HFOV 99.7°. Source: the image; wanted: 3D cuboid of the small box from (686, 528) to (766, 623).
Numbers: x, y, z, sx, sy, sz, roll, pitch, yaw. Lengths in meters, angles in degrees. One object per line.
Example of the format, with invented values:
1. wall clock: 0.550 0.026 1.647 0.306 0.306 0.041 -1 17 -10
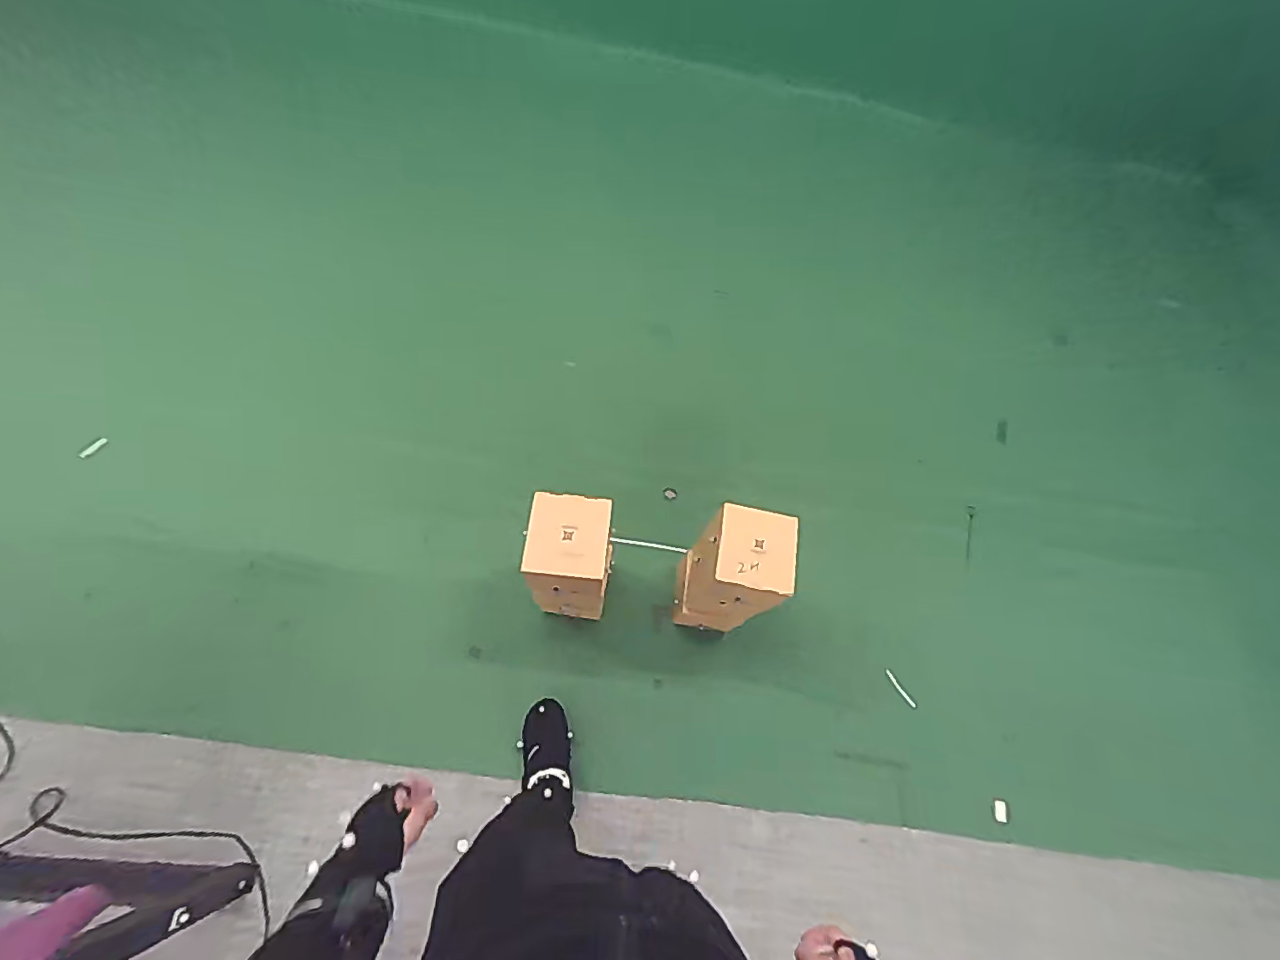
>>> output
1. small box: 0.219 0.242 1.349 0.168 0.176 0.179 13 65 -2

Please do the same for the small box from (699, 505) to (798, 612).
1. small box: 0.236 0.179 1.197 0.168 0.176 0.179 13 66 -2

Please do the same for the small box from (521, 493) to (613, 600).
1. small box: -0.153 0.148 1.166 0.168 0.176 0.179 7 65 -3

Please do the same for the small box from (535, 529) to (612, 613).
1. small box: -0.163 0.214 1.314 0.168 0.176 0.179 7 66 -3

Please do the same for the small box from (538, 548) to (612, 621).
1. small box: -0.172 0.276 1.466 0.168 0.176 0.179 10 64 -2
